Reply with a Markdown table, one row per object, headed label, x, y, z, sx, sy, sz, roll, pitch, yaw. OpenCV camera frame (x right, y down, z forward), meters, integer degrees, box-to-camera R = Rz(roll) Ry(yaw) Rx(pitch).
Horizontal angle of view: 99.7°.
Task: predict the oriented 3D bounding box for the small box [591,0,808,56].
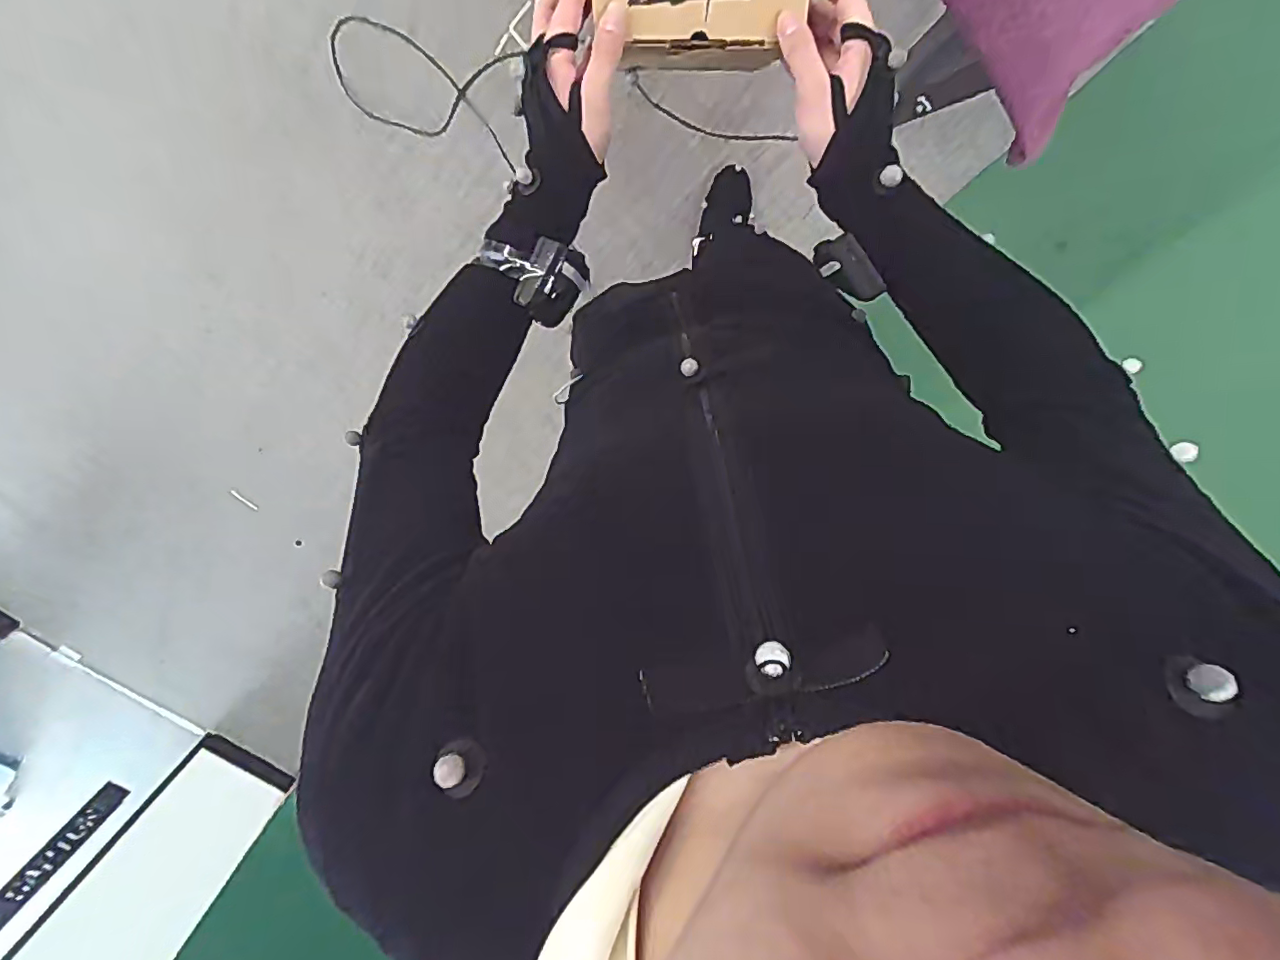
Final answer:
| label | x | y | z | sx | sy | sz | roll | pitch | yaw |
| --- | --- | --- | --- | --- | --- | --- | --- | --- | --- |
| small box | 0.045 | -0.459 | 0.434 | 0.168 | 0.176 | 0.179 | 0 | 122 | -2 |
